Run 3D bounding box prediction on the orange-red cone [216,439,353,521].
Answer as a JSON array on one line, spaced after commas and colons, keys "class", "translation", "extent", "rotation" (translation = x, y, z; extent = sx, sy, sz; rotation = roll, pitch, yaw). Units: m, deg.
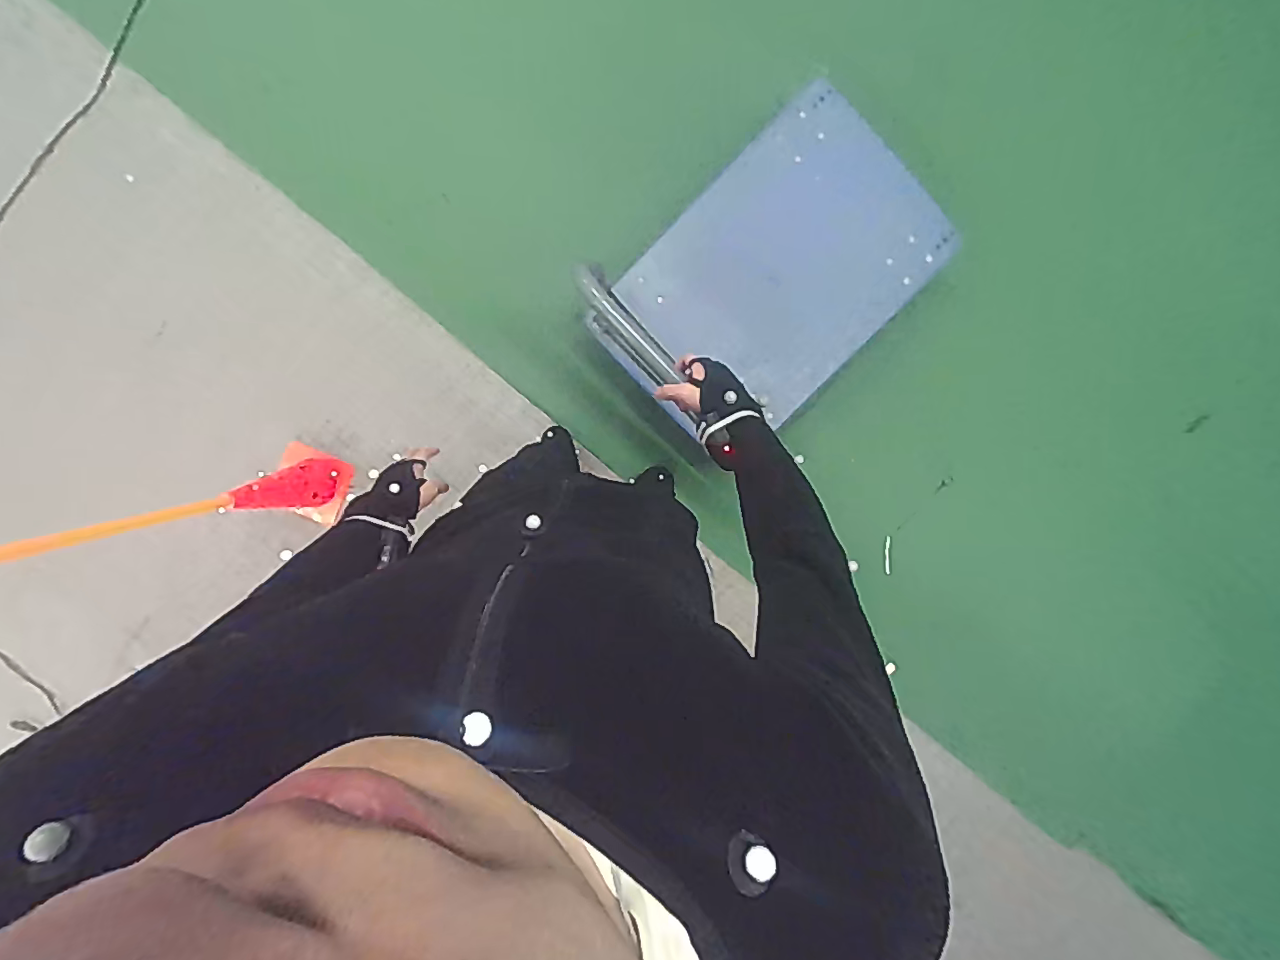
[{"class": "orange-red cone", "translation": [-0.960, 0.019, 1.412], "extent": [0.199, 0.360, 0.198], "rotation": [26, 95, -4]}]
